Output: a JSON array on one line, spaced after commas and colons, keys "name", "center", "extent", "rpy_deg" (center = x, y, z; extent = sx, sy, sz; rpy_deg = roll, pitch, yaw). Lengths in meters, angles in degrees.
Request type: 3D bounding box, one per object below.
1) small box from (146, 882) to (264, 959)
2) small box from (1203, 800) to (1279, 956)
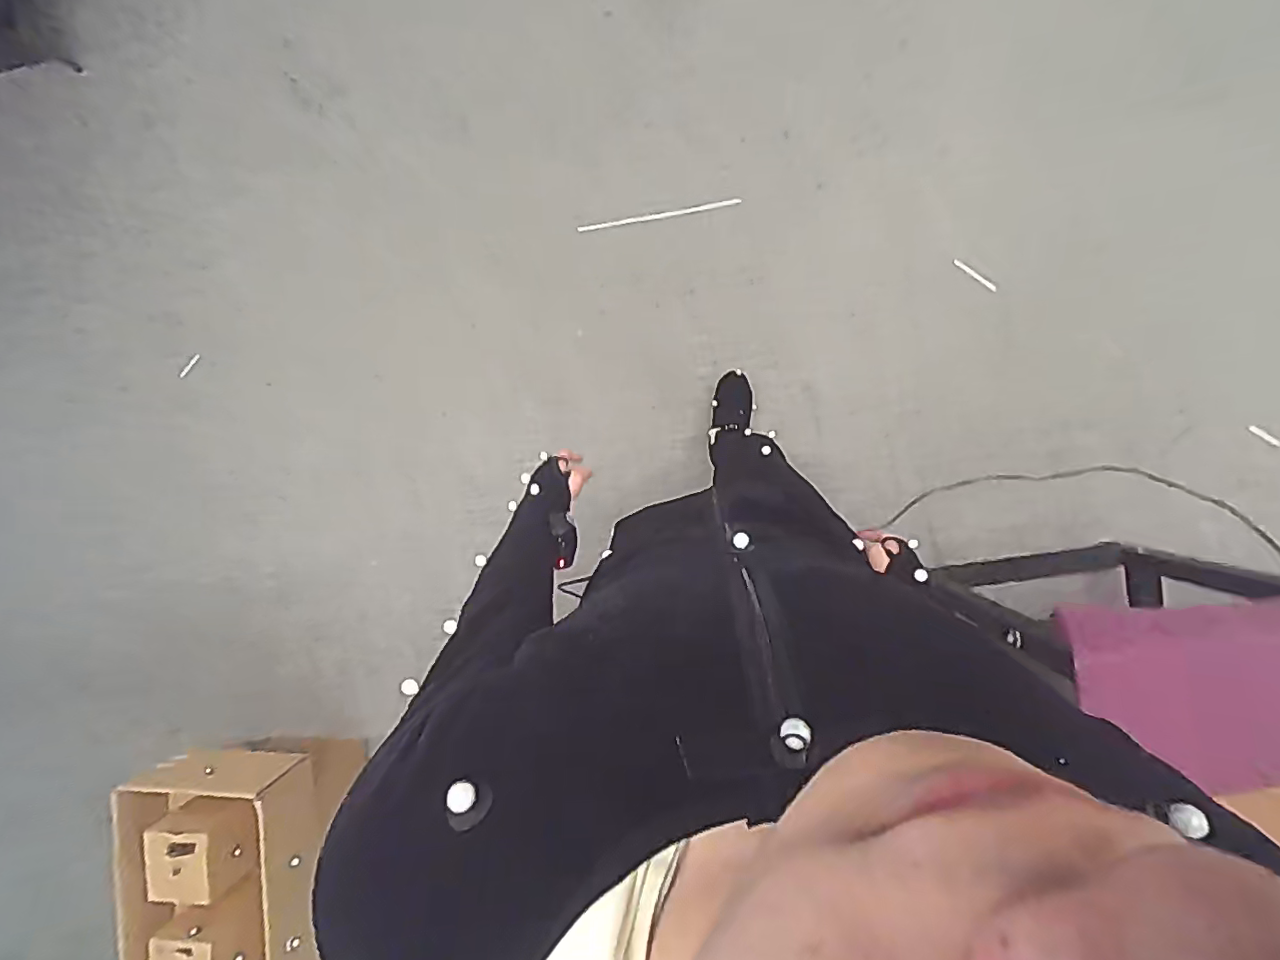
[{"name": "small box", "center": [-1.086, 1.169, 1.363], "extent": [0.168, 0.176, 0.179], "rpy_deg": [0, 93, 6]}, {"name": "small box", "center": [0.949, 0.563, 0.739], "extent": [0.179, 0.176, 0.168], "rpy_deg": [-12, 91, 6]}]
